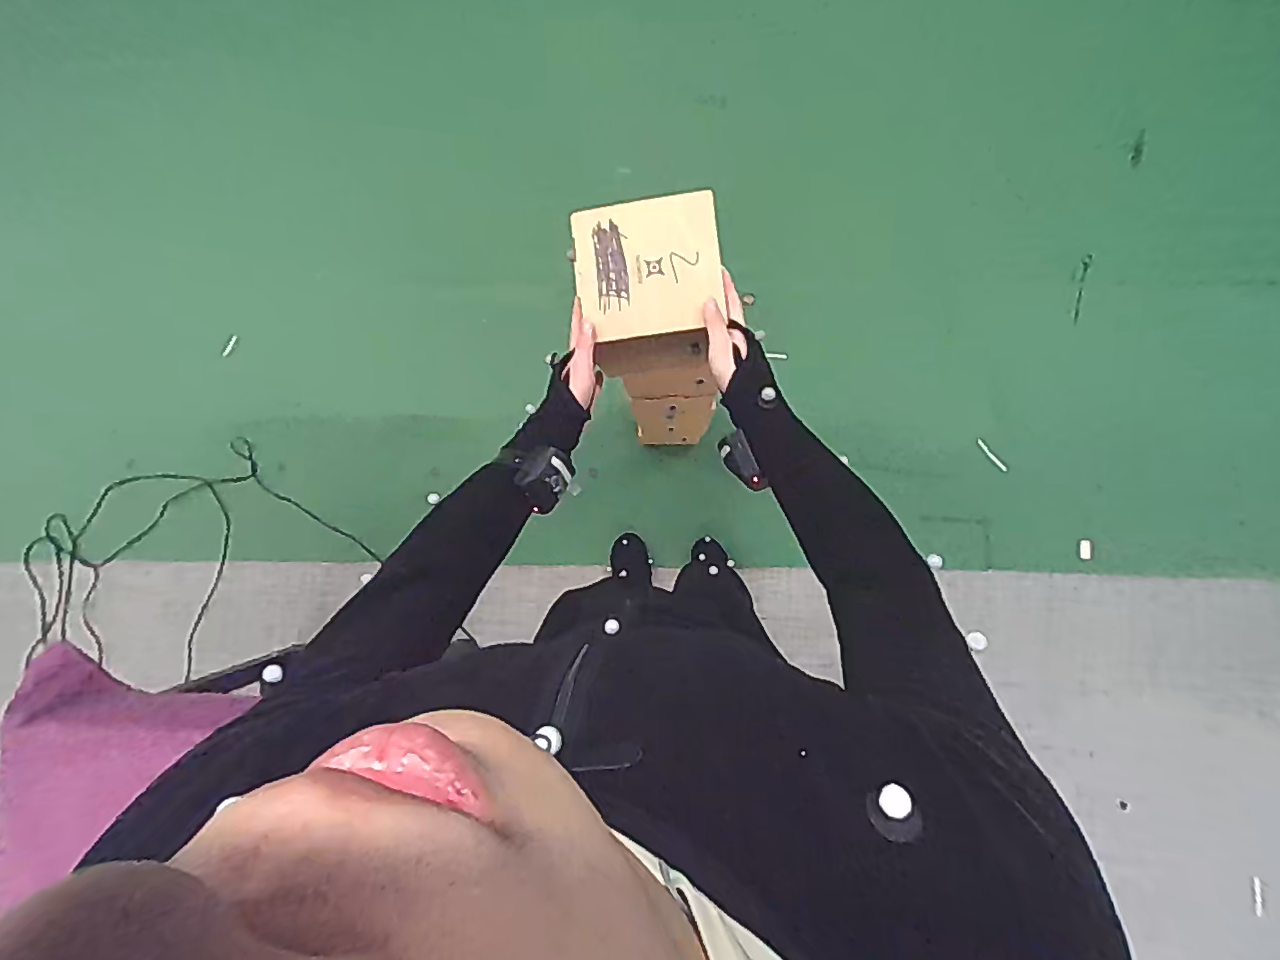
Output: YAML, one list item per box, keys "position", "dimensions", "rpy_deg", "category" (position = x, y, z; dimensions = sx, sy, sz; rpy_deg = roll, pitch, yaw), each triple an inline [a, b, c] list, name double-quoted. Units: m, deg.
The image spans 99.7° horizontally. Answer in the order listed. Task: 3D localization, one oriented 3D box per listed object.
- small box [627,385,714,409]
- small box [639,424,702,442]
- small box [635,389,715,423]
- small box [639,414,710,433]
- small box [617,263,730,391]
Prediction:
- position: [0.060, -0.238, 1.083]
  dimensions: [0.168, 0.176, 0.179]
  rpy_deg: [-2, 87, 3]
  category: "small box"
- position: [0.087, -0.203, 1.569]
  dimensions: [0.179, 0.176, 0.168]
  rpy_deg: [1, 87, 3]
  category: "small box"
- position: [0.076, -0.227, 1.245]
  dimensions: [0.179, 0.176, 0.168]
  rpy_deg: [-4, 87, 2]
  category: "small box"
- position: [0.086, -0.215, 1.408]
  dimensions: [0.179, 0.176, 0.168]
  rpy_deg: [-2, 86, 3]
  category: "small box"
- position: [0.055, -0.251, 0.919]
  dimensions: [0.179, 0.176, 0.168]
  rpy_deg: [-1, 85, 4]
  category: "small box"
